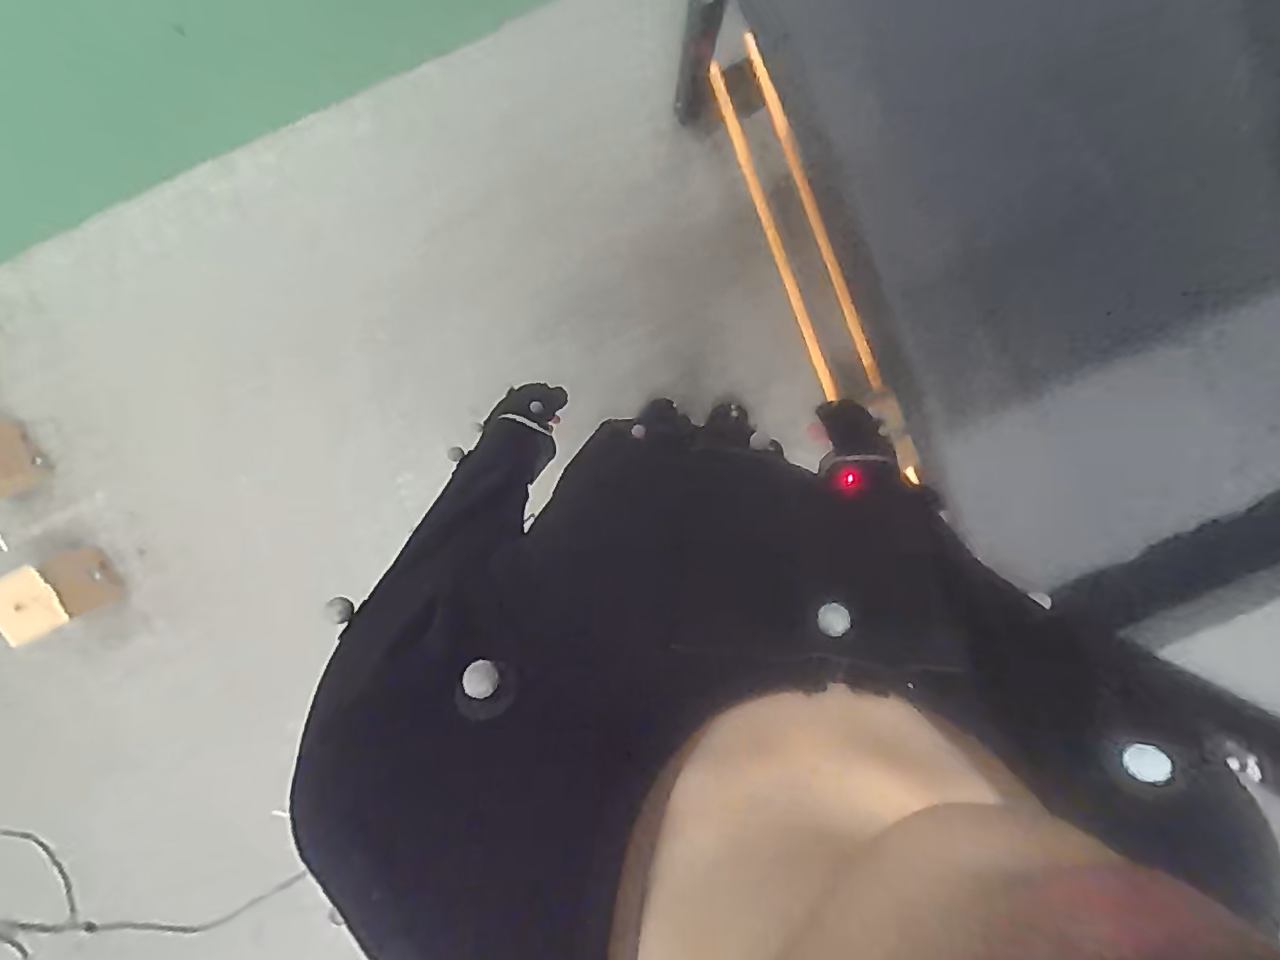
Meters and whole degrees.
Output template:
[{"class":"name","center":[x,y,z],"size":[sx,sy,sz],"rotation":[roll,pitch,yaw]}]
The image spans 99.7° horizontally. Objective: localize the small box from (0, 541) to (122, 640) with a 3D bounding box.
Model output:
[{"class":"small box","center":[-1.526,0.279,1.400],"size":[0.179,0.176,0.168],"rotation":[-25,100,1]}]

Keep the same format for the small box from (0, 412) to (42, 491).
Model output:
[{"class":"small box","center":[-1.672,-0.062,1.347],"size":[0.179,0.176,0.168],"rotation":[-27,98,3]}]
